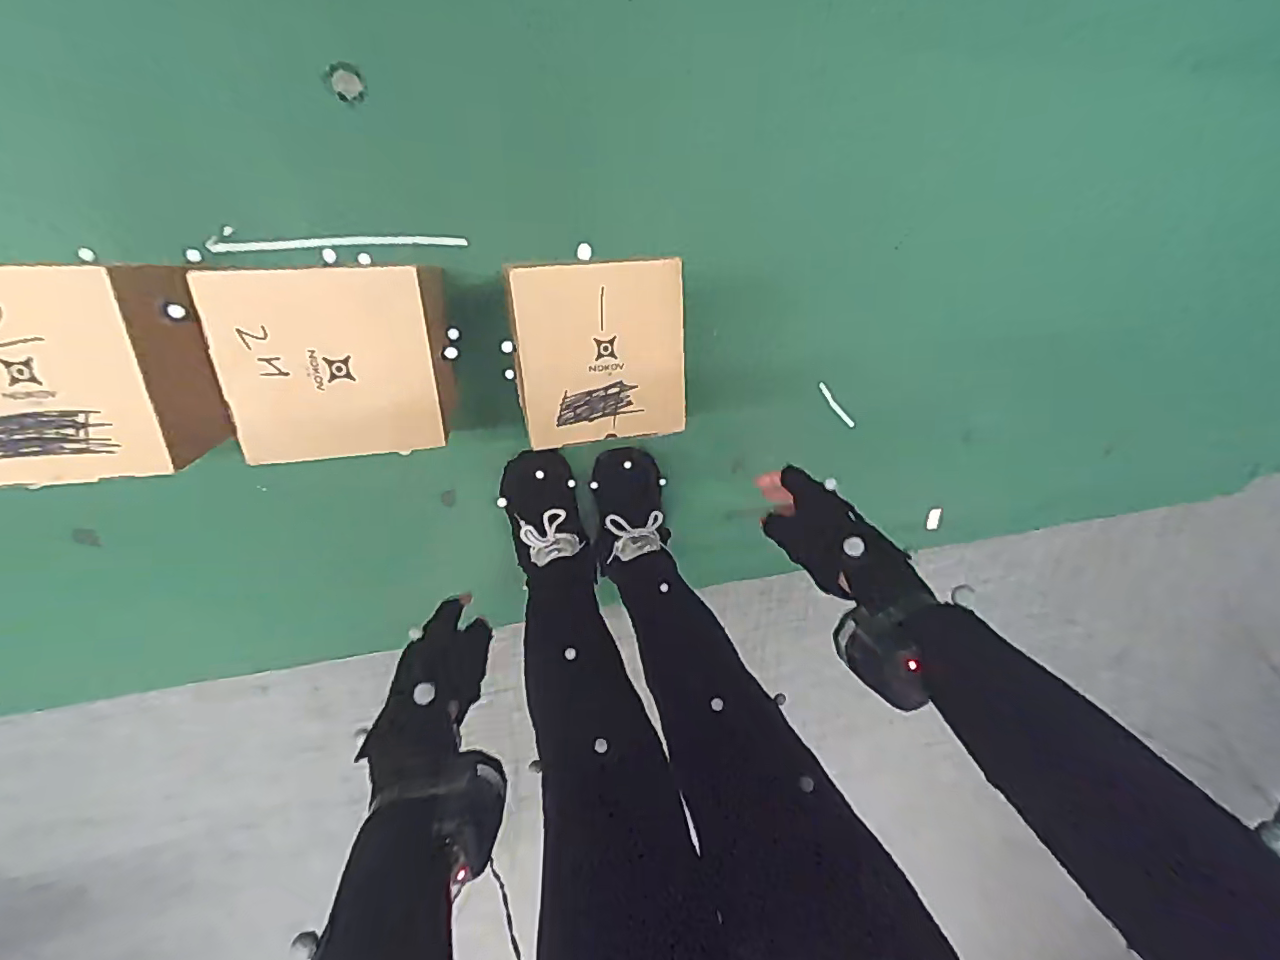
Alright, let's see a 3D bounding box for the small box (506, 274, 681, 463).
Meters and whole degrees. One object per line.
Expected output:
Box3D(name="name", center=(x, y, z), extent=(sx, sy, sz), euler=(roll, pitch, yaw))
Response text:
Box3D(name="small box", center=(-0.057, -0.136, 0.616), extent=(0.168, 0.176, 0.179), euler=(-9, 112, -12))
